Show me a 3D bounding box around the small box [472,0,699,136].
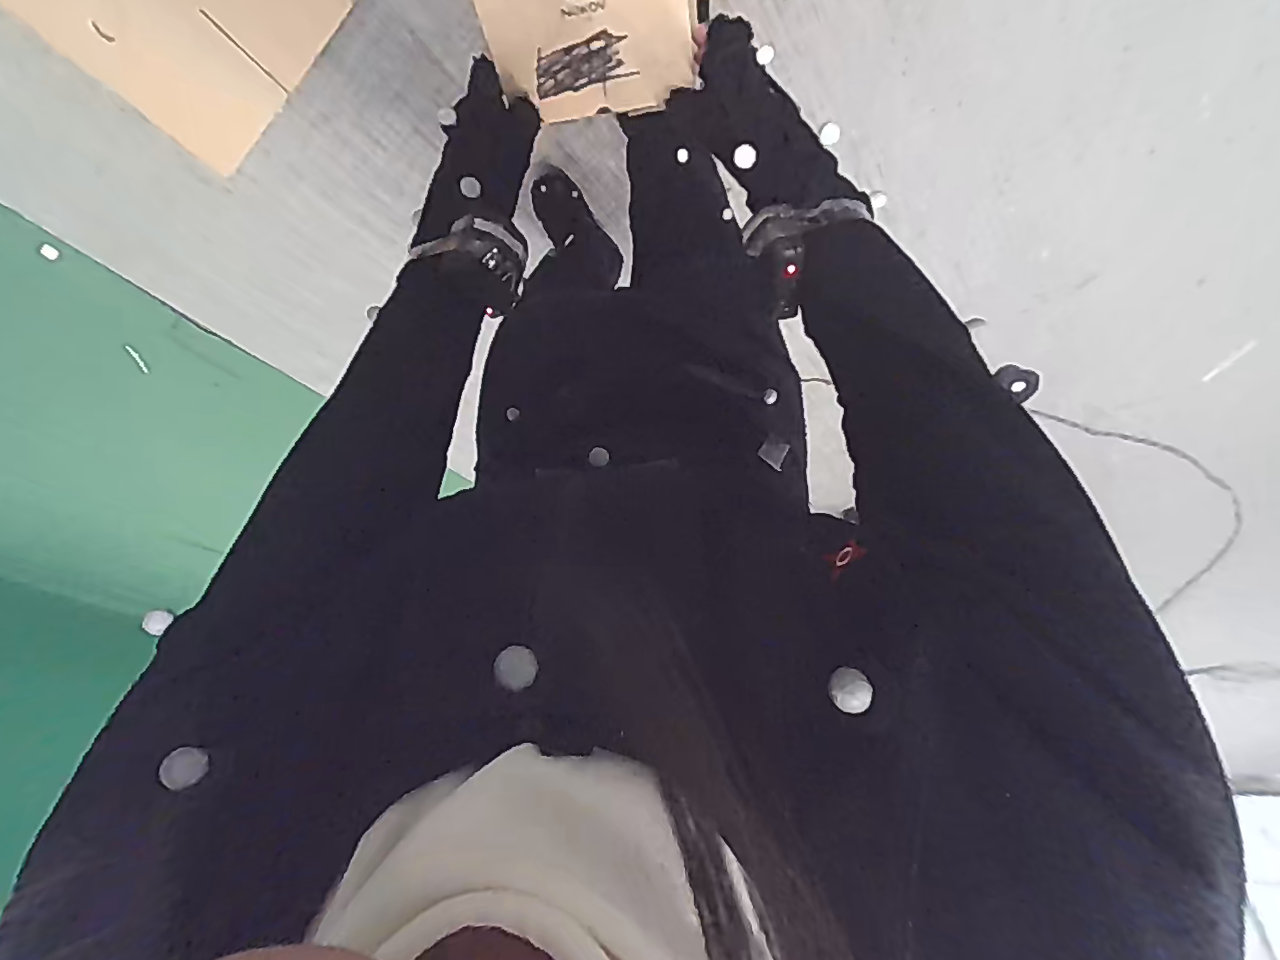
[{"bbox_3d":[-0.042,-0.441,0.461,0.168,0.176,0.179,-4,148,14],"label":"small box"}]
